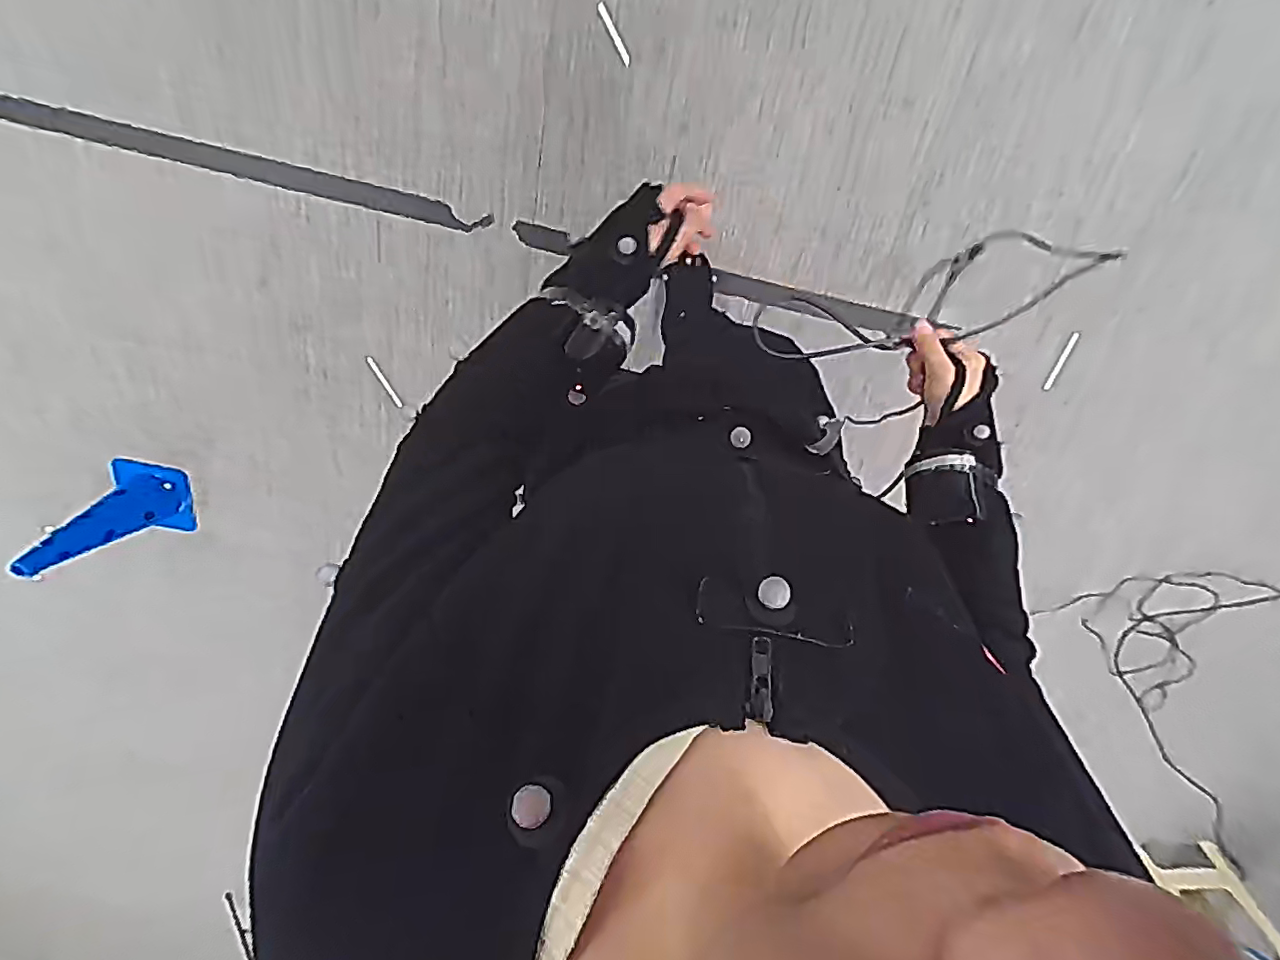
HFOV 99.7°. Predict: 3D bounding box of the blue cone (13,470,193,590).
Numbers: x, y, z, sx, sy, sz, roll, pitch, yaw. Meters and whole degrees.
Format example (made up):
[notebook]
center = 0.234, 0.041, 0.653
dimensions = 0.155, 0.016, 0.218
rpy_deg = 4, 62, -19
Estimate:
[blue cone]
center = -1.347, 0.137, 1.343
dimensions = 0.193, 0.380, 0.192
rpy_deg = 12, 116, -4
